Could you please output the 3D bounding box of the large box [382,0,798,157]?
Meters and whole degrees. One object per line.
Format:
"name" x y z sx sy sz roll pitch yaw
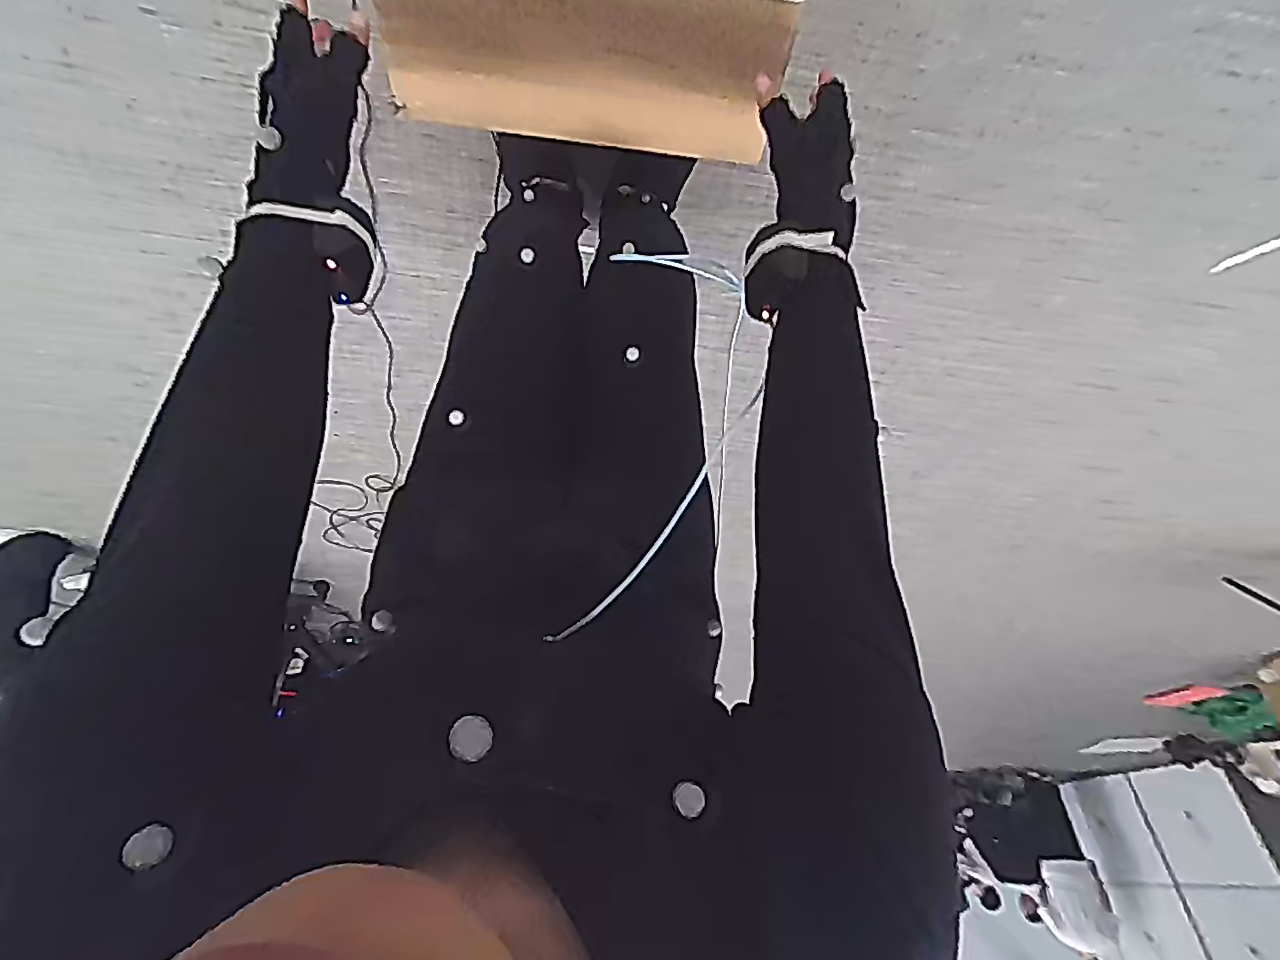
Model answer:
"large box" -0.039 -0.598 0.574 0.408 0.320 0.320 5 144 -5
